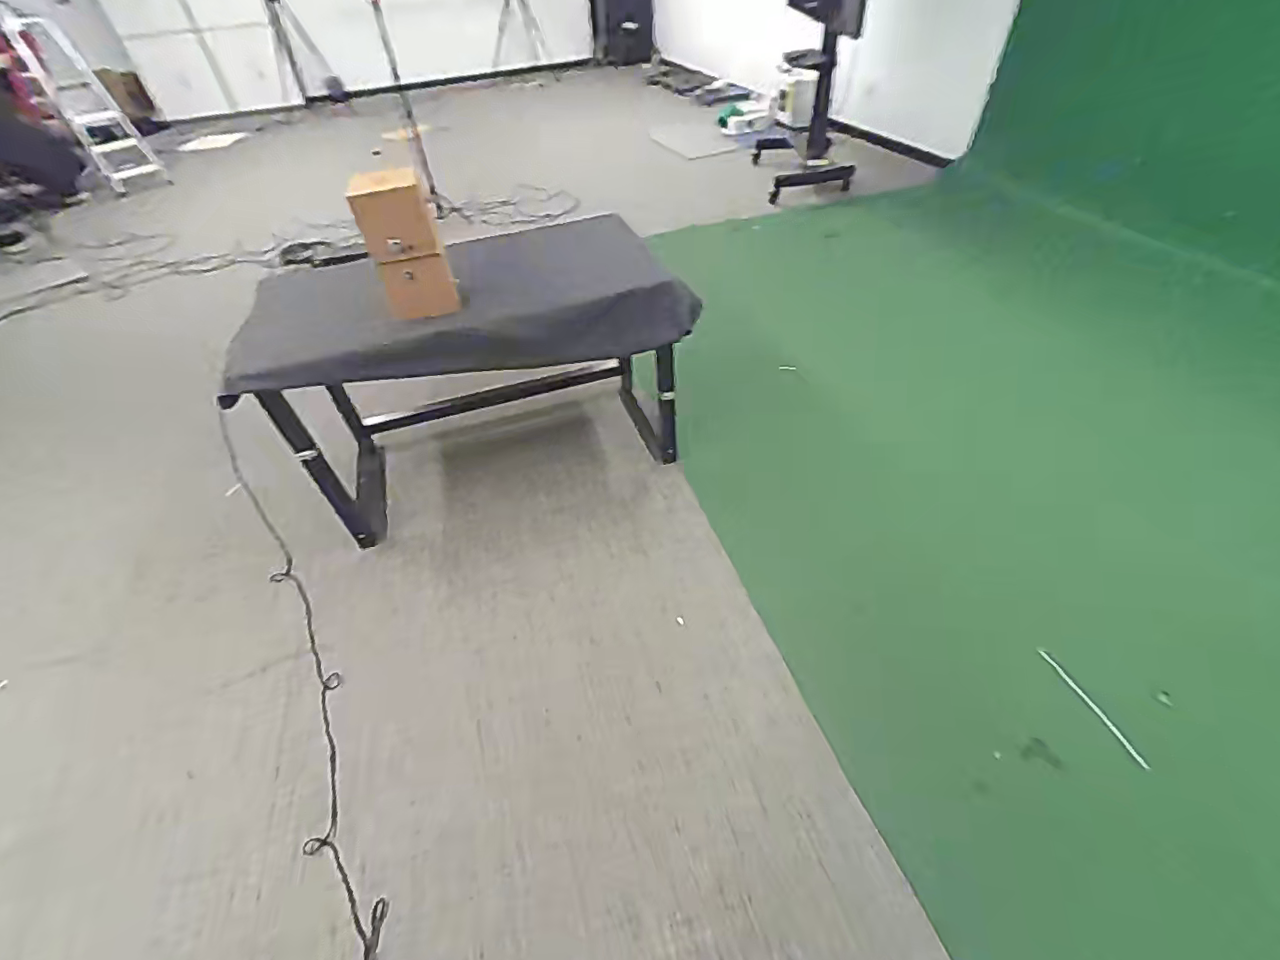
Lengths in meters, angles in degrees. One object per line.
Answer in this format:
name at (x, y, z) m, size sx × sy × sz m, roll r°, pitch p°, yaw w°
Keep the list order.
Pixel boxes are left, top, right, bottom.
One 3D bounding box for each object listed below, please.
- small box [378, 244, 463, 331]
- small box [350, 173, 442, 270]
small box at (-0.609, -0.536, 1.513) m, size 0.179 × 0.176 × 0.168 m, roll -14°, pitch 45°, yaw -10°
small box at (-0.619, -0.662, 1.388) m, size 0.168 × 0.176 × 0.179 m, roll -16°, pitch 46°, yaw -9°
